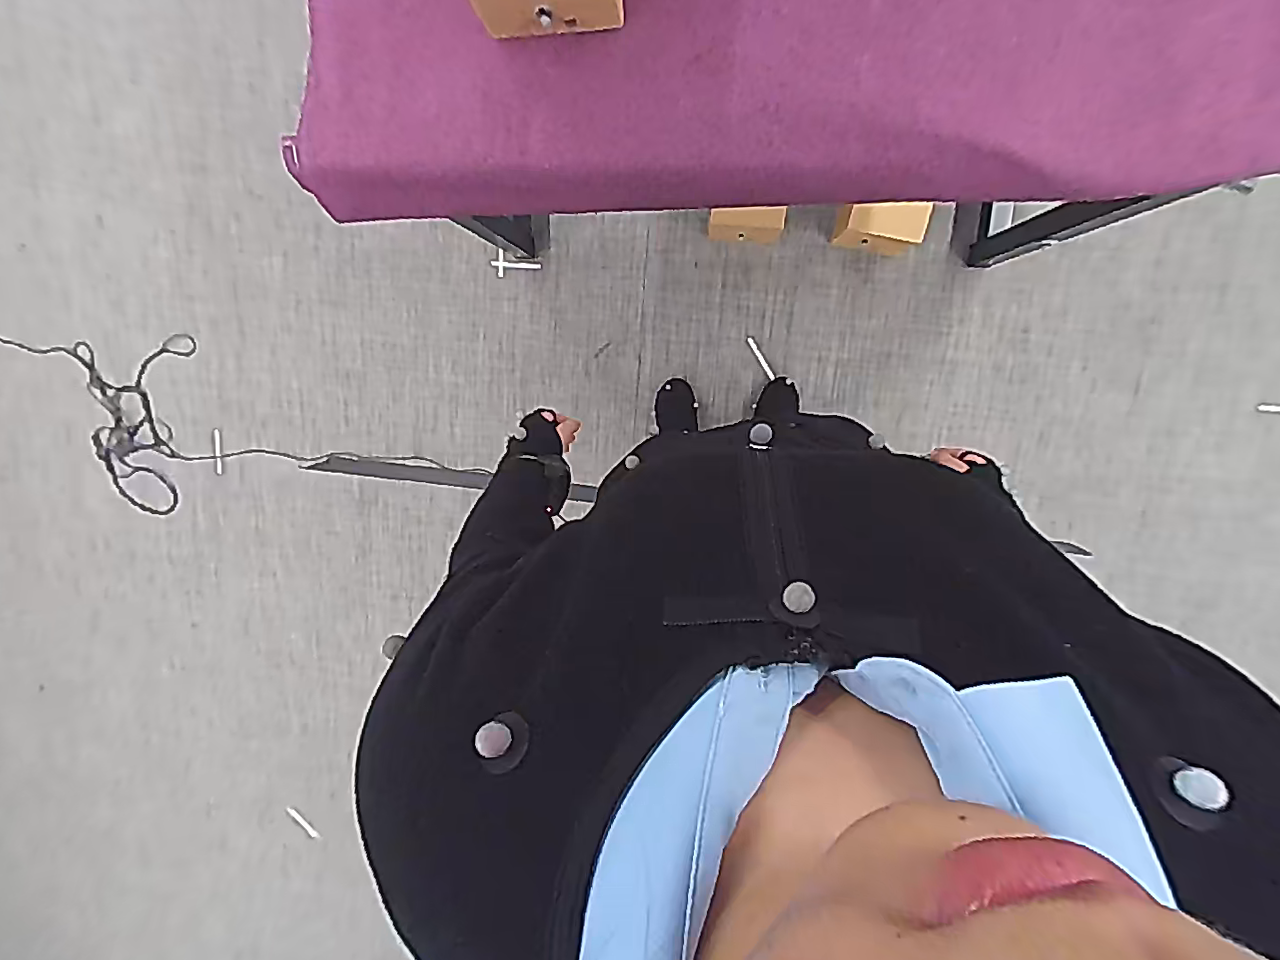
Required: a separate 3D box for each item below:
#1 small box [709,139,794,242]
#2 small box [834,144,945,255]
[{"bbox_3d":[0.255,-0.669,1.268,0.168,0.176,0.179,6,102,4],"label":"small box"},{"bbox_3d":[0.560,-0.634,1.245,0.168,0.176,0.179,13,102,4],"label":"small box"}]
